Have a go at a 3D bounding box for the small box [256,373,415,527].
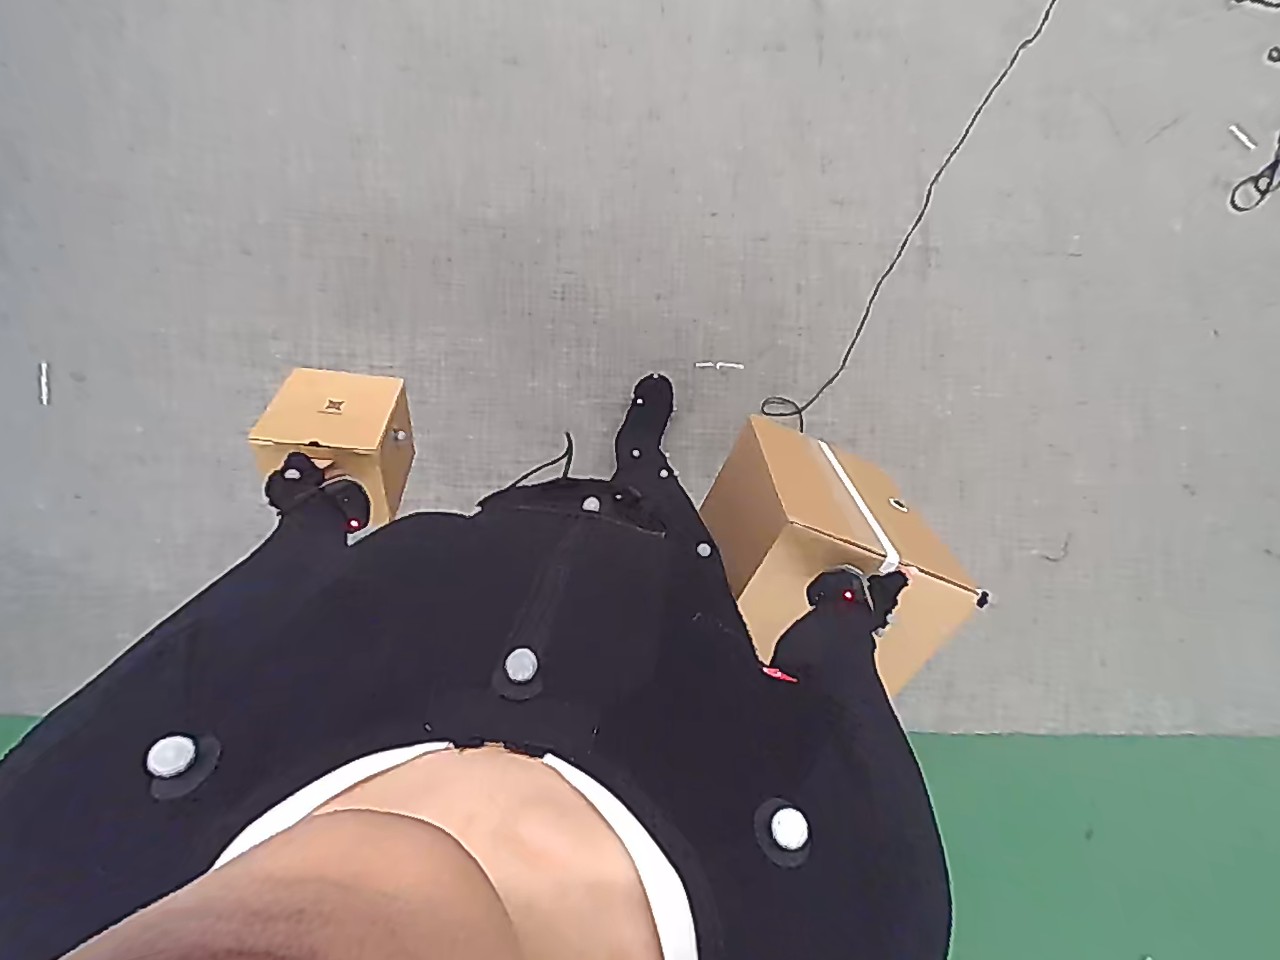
[{"bbox_3d":[-0.469,-0.047,0.868,0.168,0.179,0.176,4,133,-10],"label":"small box"}]
